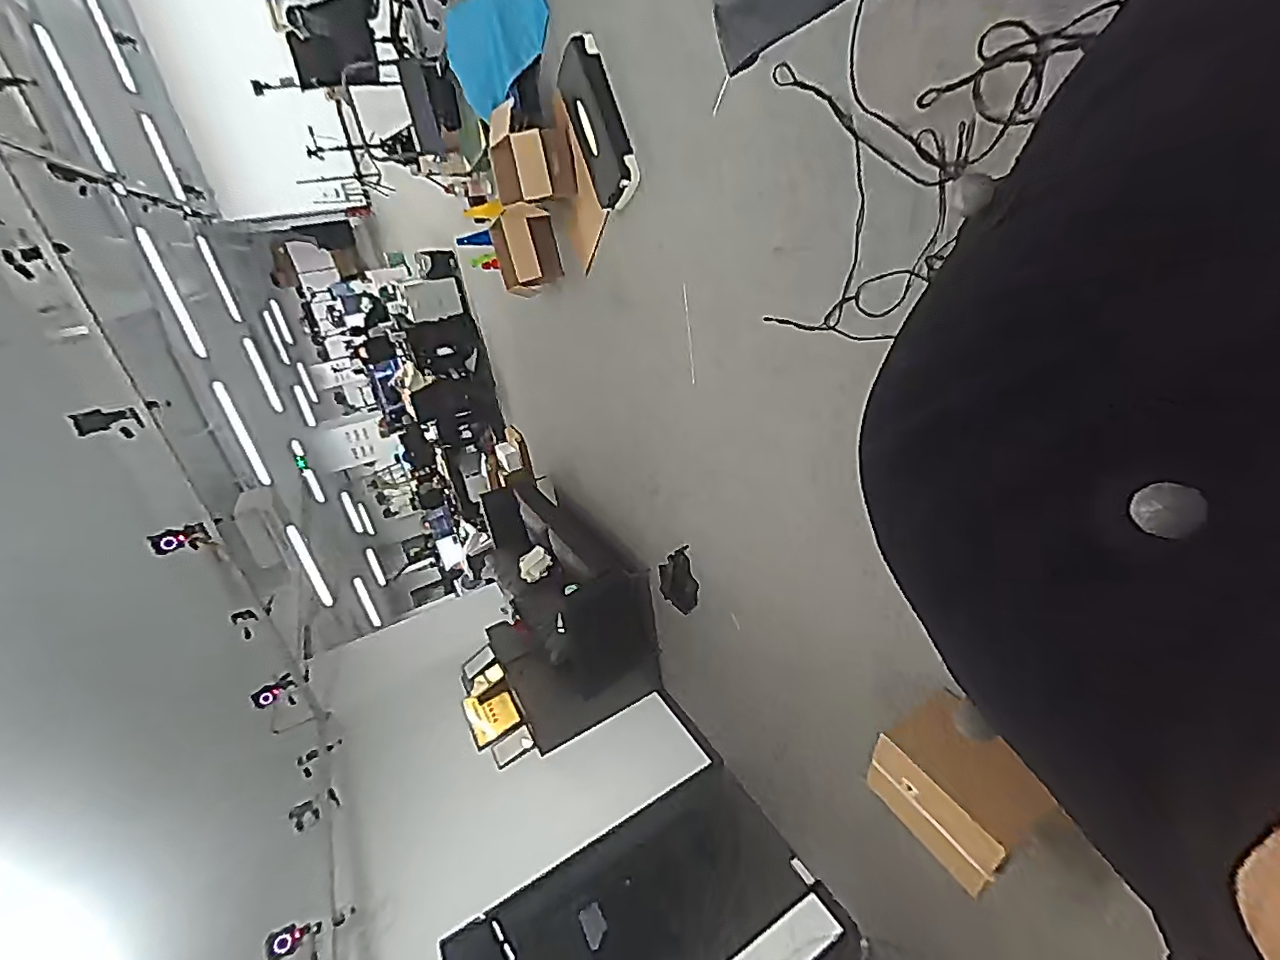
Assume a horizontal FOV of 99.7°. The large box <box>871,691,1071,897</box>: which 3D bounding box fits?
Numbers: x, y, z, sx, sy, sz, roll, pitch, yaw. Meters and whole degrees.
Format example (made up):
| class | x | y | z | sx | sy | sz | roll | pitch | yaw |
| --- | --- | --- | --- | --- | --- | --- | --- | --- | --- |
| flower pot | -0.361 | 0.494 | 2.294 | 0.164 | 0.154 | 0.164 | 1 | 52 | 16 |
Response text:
| class | x | y | z | sx | sy | sz | roll | pitch | yaw |
| --- | --- | --- | --- | --- | --- | --- | --- | --- | --- |
| large box | 1.016 | 0.965 | 1.701 | 0.408 | 0.320 | 0.320 | 44 | 146 | 49 |
